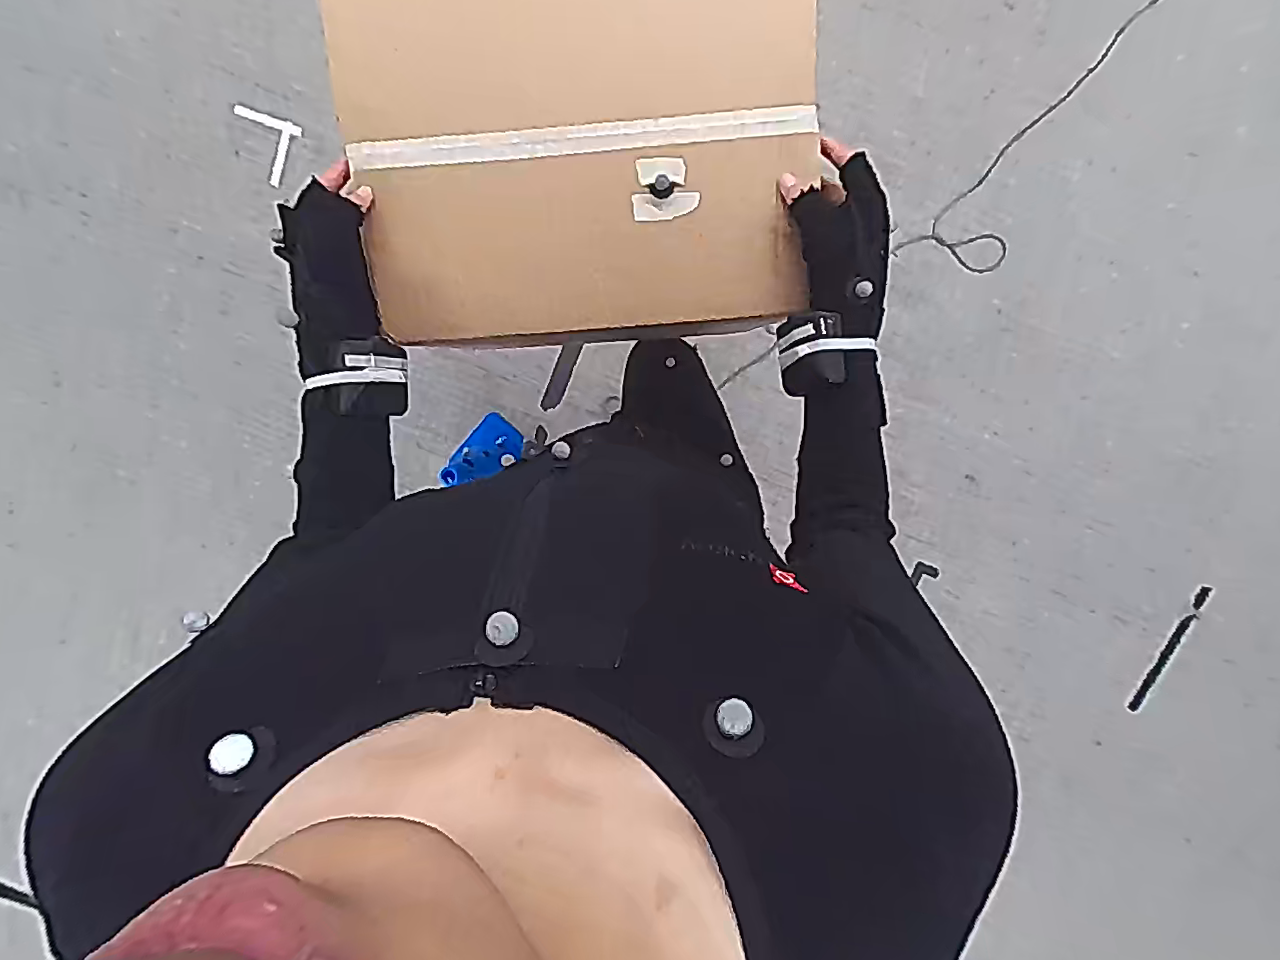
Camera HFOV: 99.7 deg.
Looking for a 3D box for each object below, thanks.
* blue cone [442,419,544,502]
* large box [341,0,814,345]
[{"bbox_3d":[-0.385,-0.031,1.319,0.193,0.380,0.192,43,97,-4],"label":"blue cone"},{"bbox_3d":[-0.049,-0.336,0.624,0.408,0.320,0.320,-4,102,1],"label":"large box"}]
